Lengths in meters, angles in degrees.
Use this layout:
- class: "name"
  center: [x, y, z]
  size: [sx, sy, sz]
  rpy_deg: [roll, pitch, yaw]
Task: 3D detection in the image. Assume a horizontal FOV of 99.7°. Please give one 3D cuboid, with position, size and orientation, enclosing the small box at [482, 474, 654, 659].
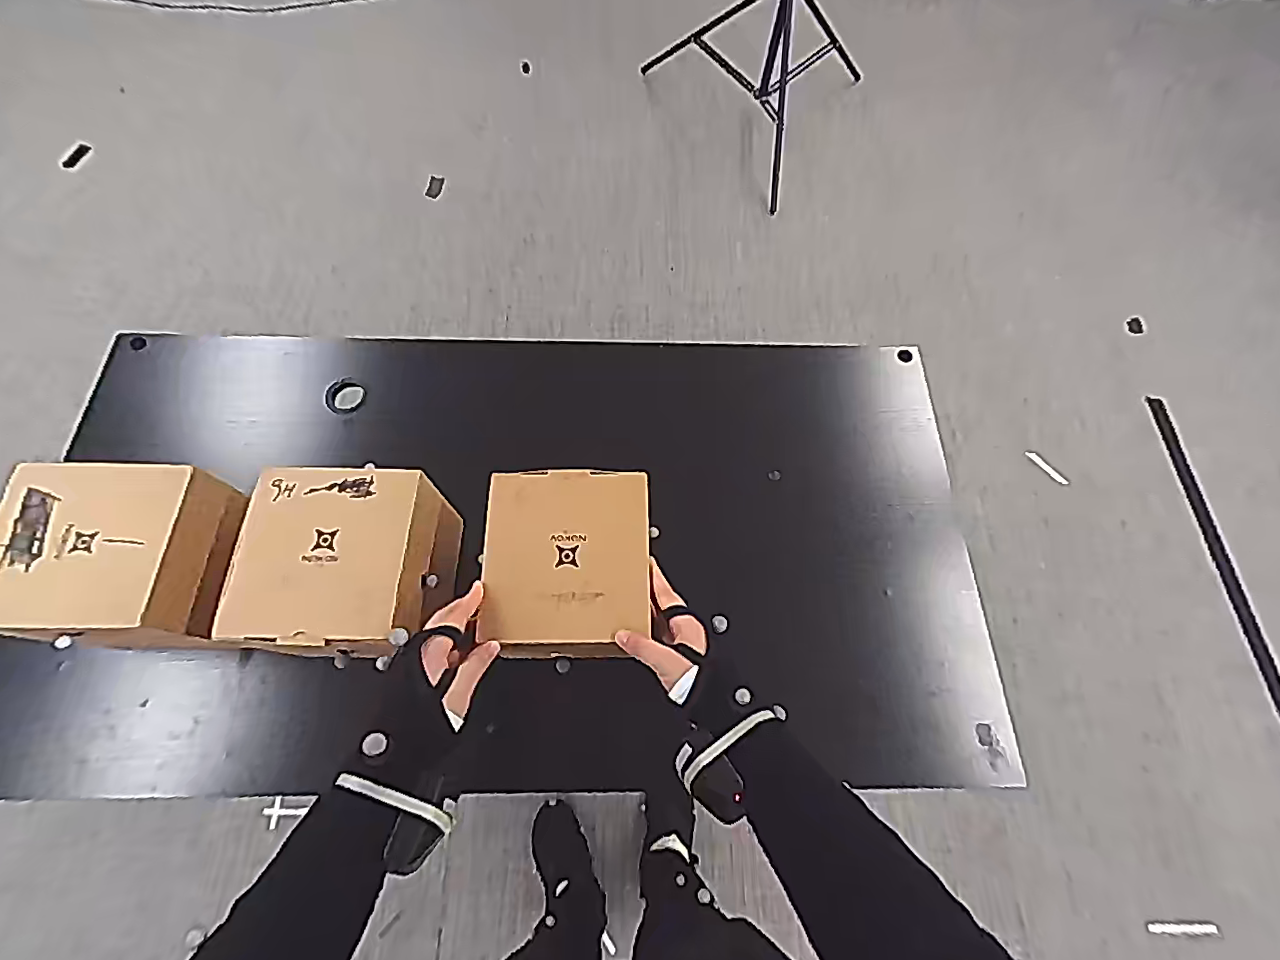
- class: "small box"
  center: [-0.072, 0.105, 0.615]
  size: [0.168, 0.176, 0.179]
  rpy_deg: [-1, 69, -1]

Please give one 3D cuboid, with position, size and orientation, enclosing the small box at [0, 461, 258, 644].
- class: "small box"
  center: [-0.542, 0.089, 0.600]
  size: [0.179, 0.176, 0.168]
  rpy_deg: [1, 68, -3]

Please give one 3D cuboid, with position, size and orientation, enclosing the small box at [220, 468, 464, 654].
- class: "small box"
  center: [-0.309, 0.100, 0.606]
  size: [0.168, 0.176, 0.179]
  rpy_deg: [2, 68, -1]
